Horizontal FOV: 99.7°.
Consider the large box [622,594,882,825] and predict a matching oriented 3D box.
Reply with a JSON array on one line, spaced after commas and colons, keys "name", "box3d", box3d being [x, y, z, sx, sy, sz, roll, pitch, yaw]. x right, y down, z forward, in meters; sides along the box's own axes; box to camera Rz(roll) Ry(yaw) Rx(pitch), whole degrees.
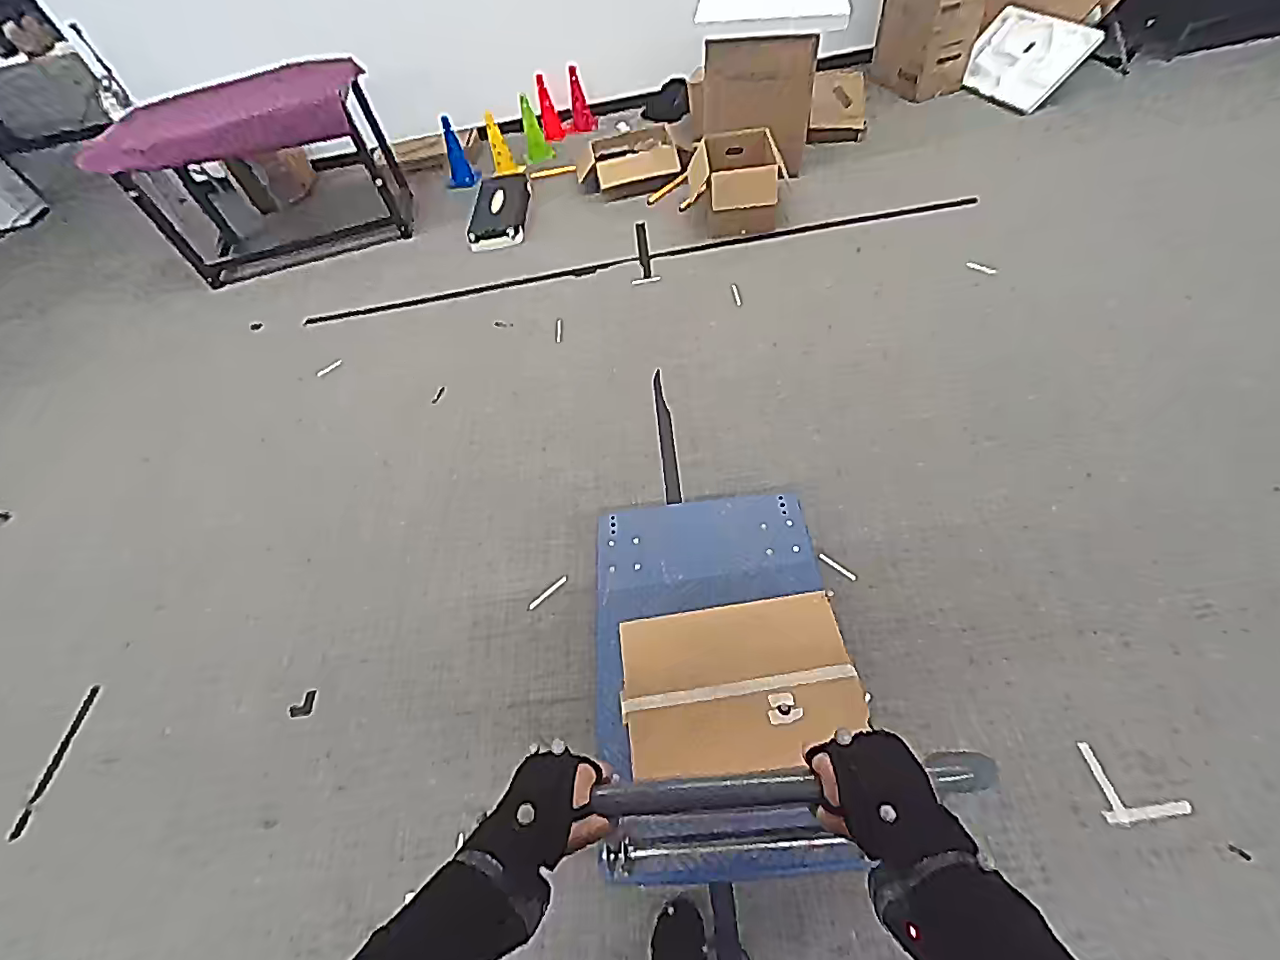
[{"name": "large box", "box3d": [0.194, 0.465, 1.079, 0.408, 0.320, 0.320, -10, 53, 1]}]
